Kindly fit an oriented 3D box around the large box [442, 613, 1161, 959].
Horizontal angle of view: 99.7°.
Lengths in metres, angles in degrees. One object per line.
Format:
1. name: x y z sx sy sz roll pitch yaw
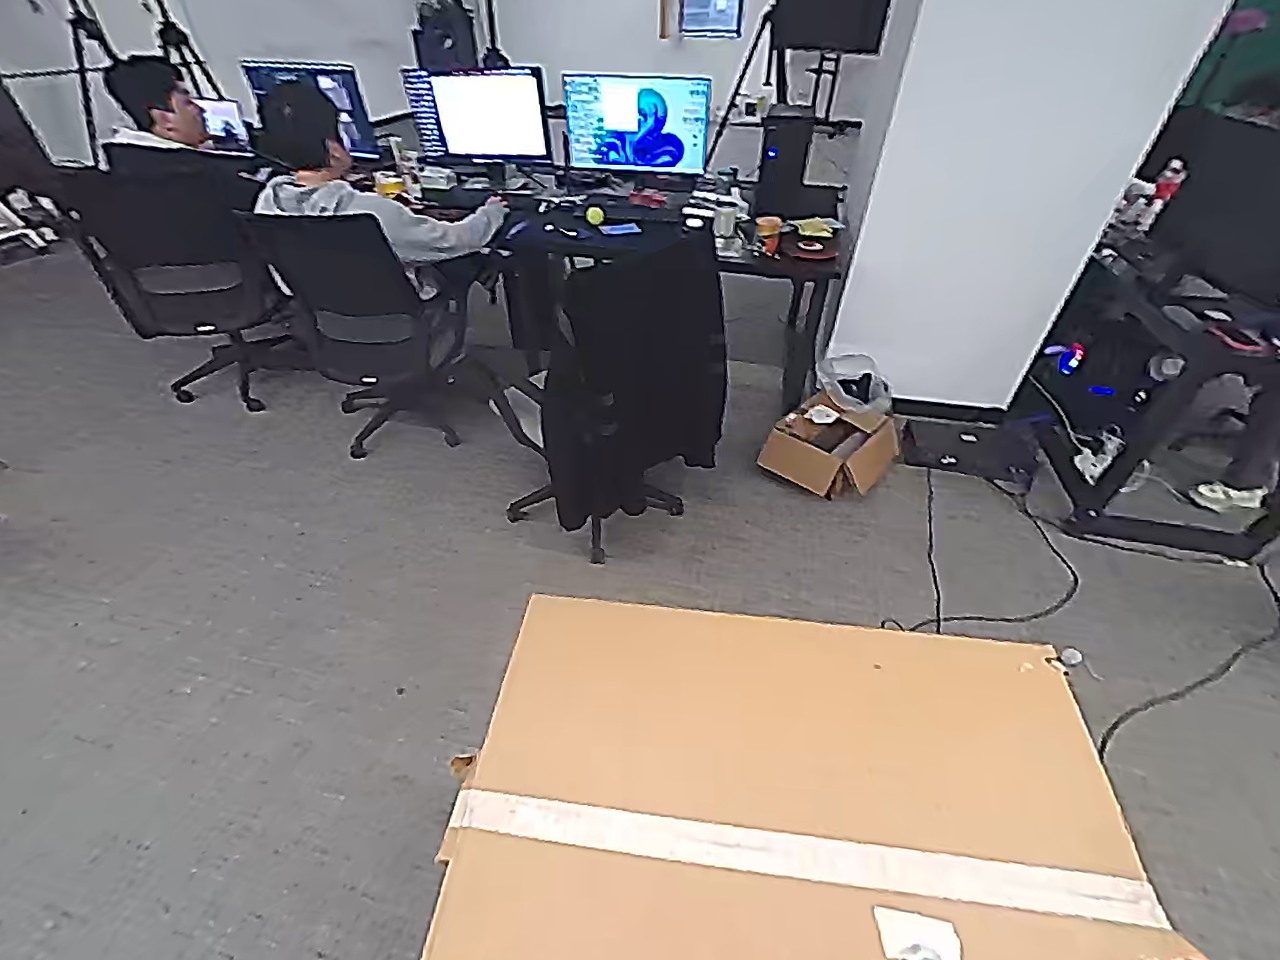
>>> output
1. large box: 0.093 0.334 0.439 0.408 0.320 0.320 4 49 5
